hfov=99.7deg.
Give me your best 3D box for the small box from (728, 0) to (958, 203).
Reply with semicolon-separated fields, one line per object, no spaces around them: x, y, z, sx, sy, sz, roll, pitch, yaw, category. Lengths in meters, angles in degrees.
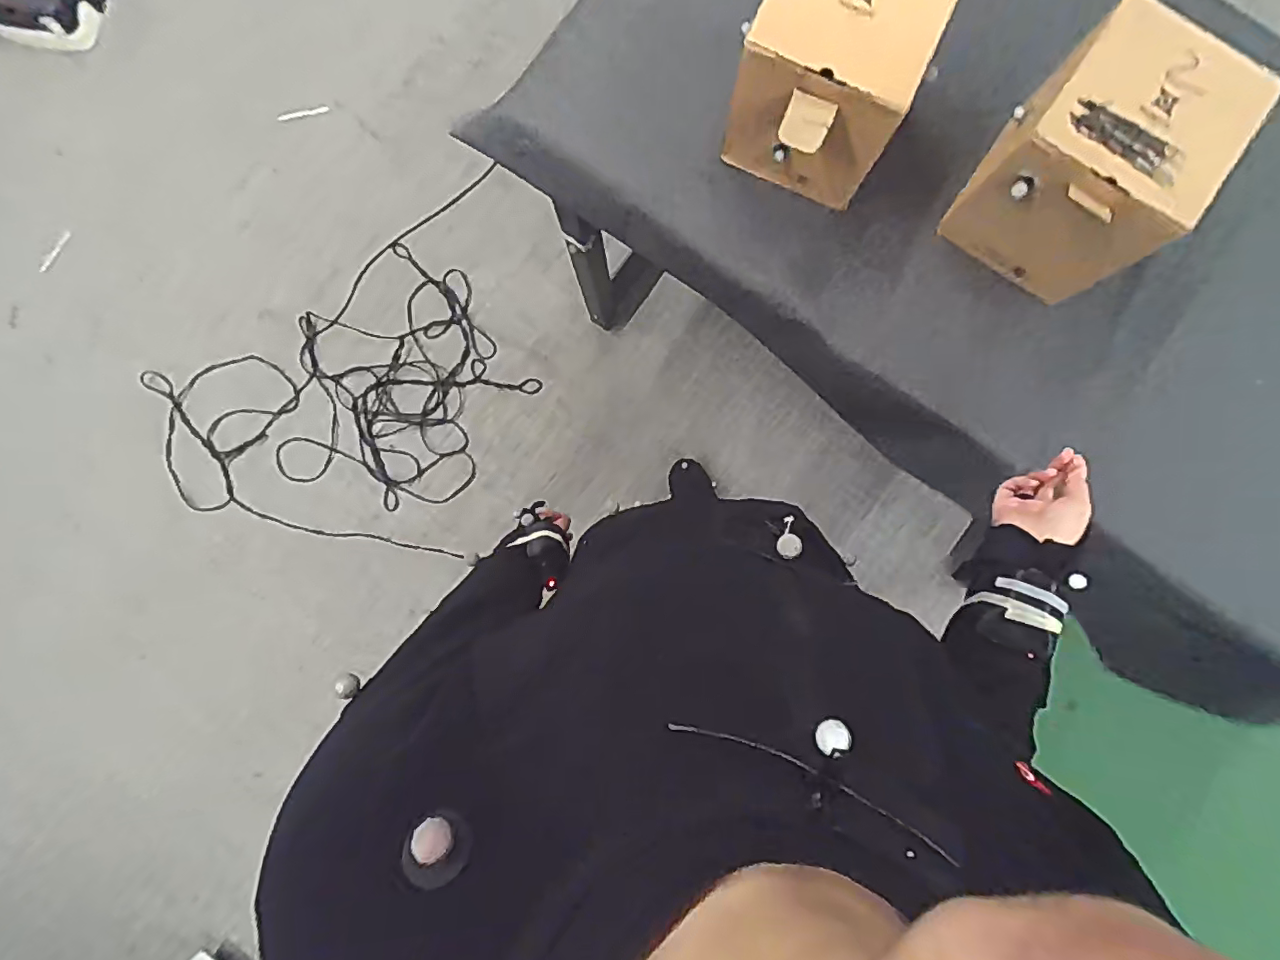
0.208;-0.447;0.582;0.168;0.176;0.179;24;88;1;small box
